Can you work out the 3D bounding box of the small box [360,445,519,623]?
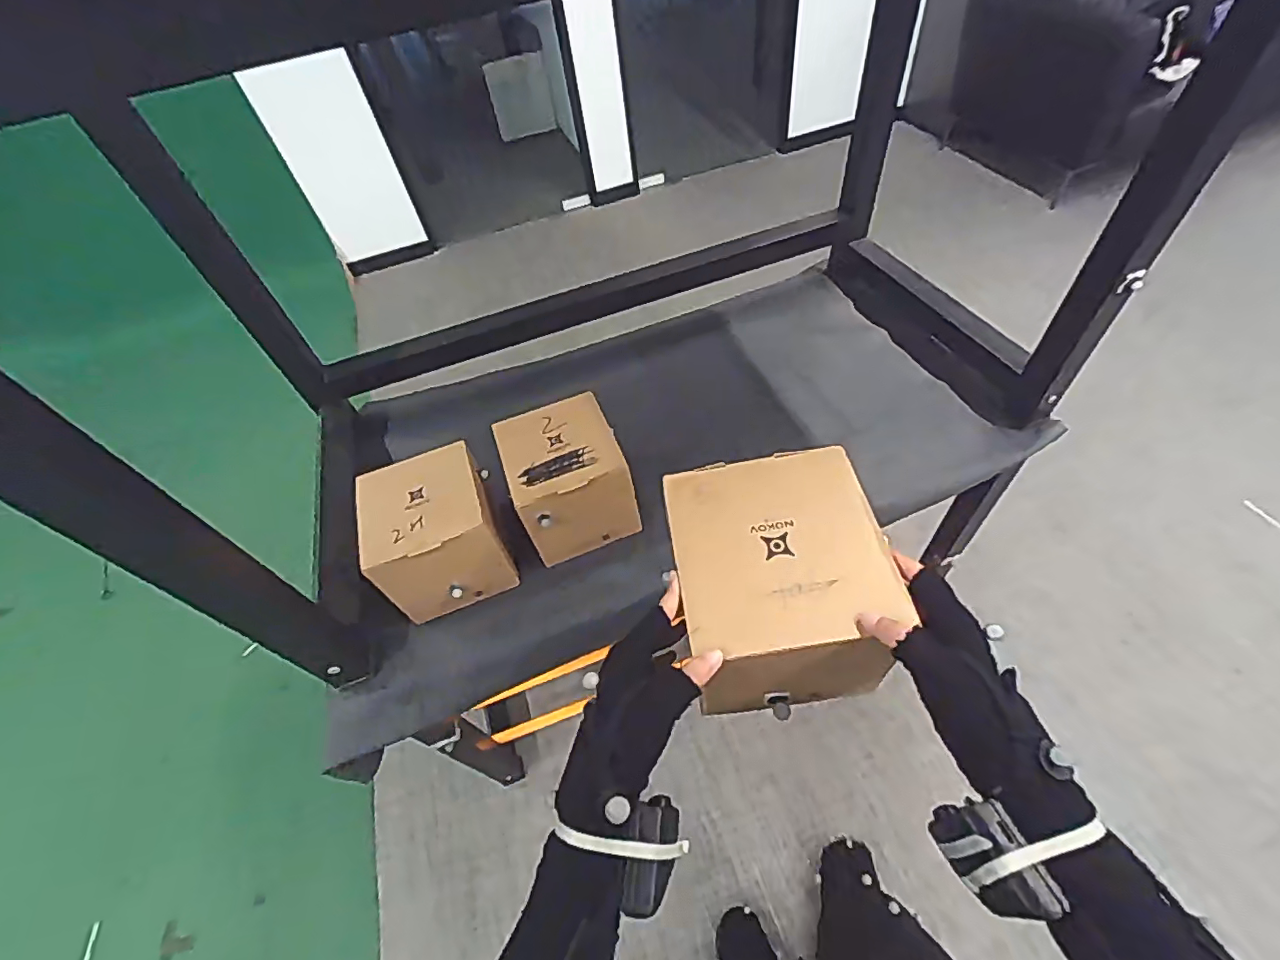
[{"bbox_3d":[-0.298,0.083,0.816,0.168,0.176,0.179,-21,53,-9],"label":"small box"}]
